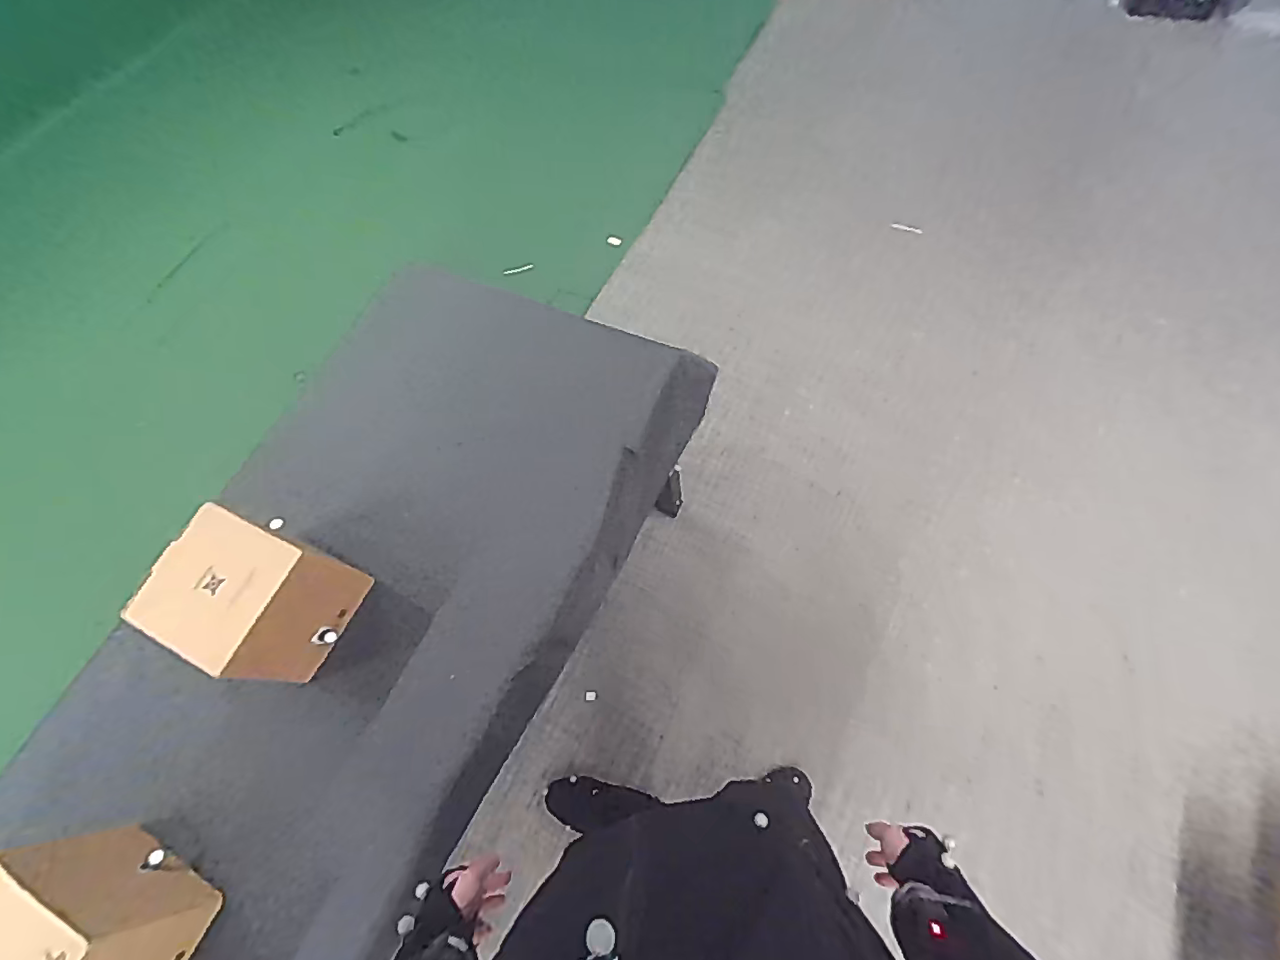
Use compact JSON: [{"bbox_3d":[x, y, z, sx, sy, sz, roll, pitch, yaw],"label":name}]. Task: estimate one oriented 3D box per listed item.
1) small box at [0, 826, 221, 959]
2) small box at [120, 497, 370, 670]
[{"bbox_3d":[-0.635,0.514,0.597,0.179,0.176,0.168,21,72,15],"label":"small box"},{"bbox_3d":[-0.520,0.149,0.739,0.179,0.176,0.168,22,73,13],"label":"small box"}]
